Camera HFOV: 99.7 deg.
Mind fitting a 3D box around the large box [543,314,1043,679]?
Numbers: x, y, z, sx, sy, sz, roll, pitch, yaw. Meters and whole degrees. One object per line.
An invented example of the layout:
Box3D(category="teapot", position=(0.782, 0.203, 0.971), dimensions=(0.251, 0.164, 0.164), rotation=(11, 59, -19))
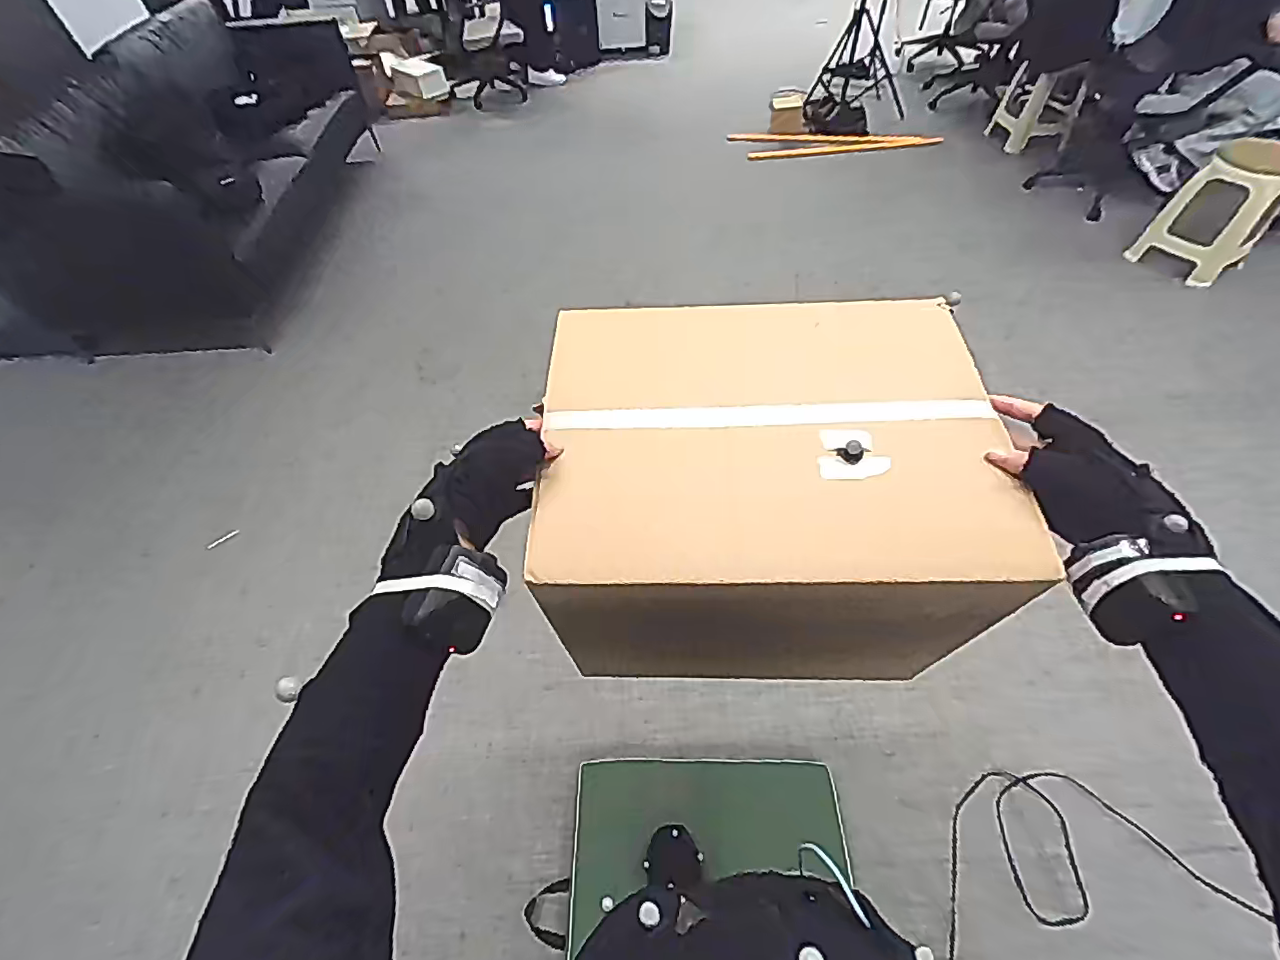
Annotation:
Box3D(category="large box", position=(0.123, 0.035, 0.631), dimensions=(0.408, 0.320, 0.320), rotation=(-1, 57, 2))
